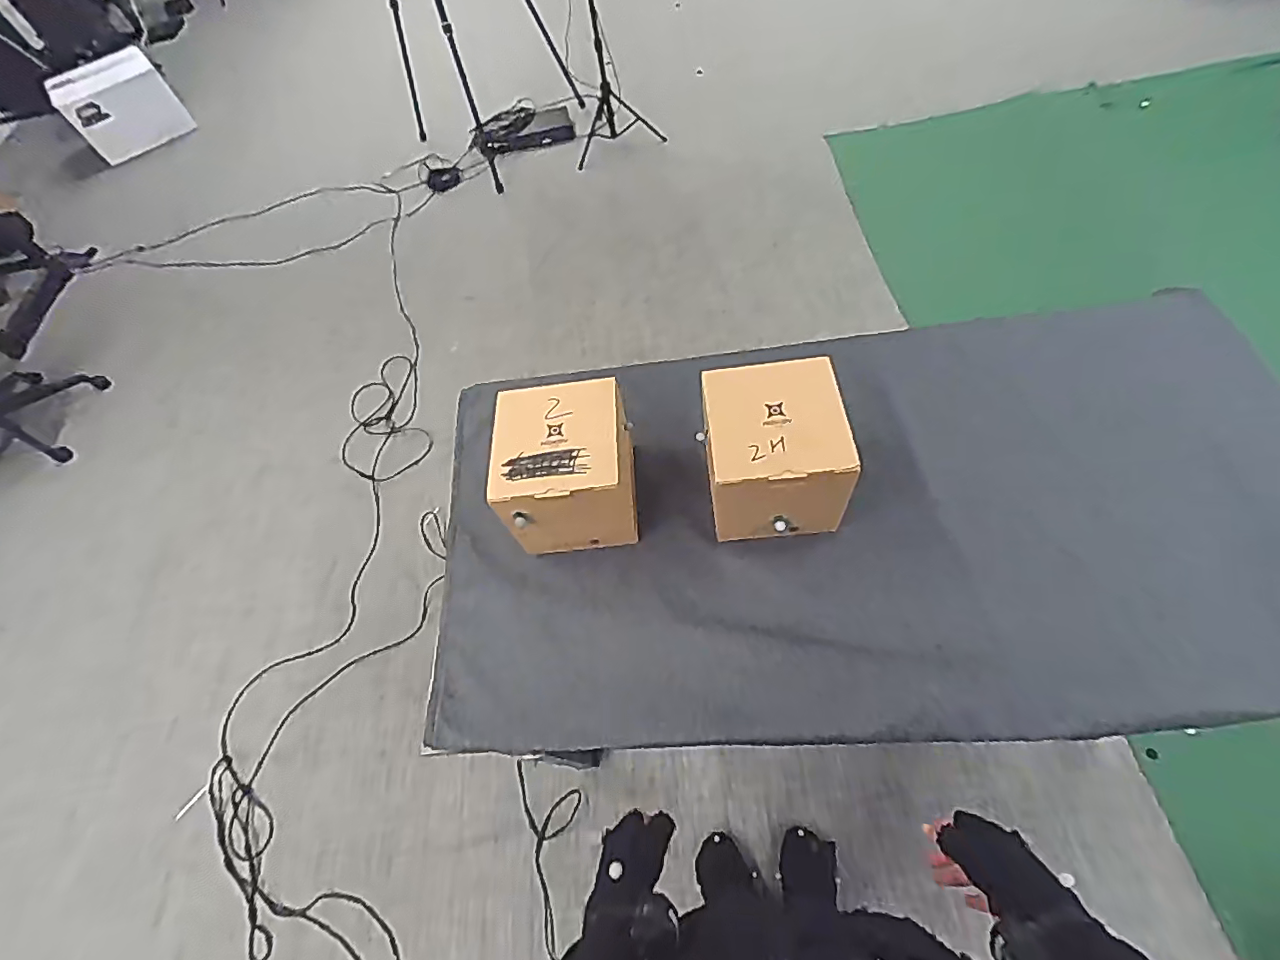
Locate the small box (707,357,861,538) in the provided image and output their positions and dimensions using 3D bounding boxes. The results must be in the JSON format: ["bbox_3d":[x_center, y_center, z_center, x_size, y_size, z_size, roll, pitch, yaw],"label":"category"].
[{"bbox_3d":[0.179,-0.038,0.732,0.168,0.176,0.179,-6,60,6],"label":"small box"}]
